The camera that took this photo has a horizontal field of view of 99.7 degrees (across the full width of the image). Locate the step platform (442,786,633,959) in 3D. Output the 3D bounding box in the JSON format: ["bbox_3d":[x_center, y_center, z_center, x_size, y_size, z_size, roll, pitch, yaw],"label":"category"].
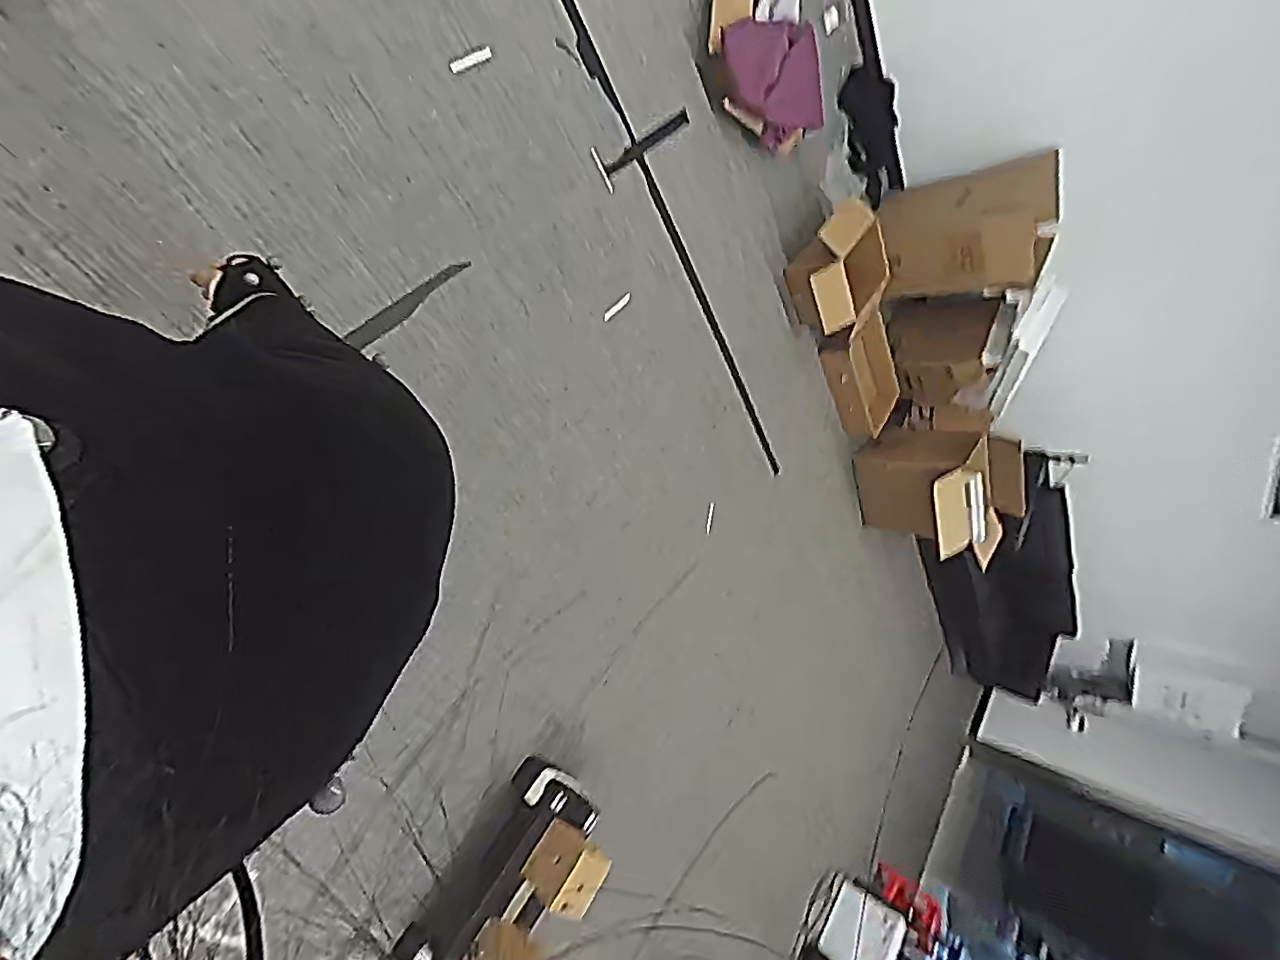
[{"bbox_3d":[-0.318,1.287,1.586,0.684,0.204,0.286,-52,128,-25],"label":"step platform"}]

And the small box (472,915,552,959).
[{"bbox_3d":[-0.398,1.403,1.576,0.168,0.176,0.179,-53,128,-25],"label":"small box"}]

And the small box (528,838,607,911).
[{"bbox_3d":[-0.238,1.195,1.699,0.179,0.176,0.168,-54,128,-24],"label":"small box"}]

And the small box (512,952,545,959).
[{"bbox_3d":[-0.288,1.428,1.456,0.168,0.176,0.179,-54,127,-25],"label":"small box"}]
